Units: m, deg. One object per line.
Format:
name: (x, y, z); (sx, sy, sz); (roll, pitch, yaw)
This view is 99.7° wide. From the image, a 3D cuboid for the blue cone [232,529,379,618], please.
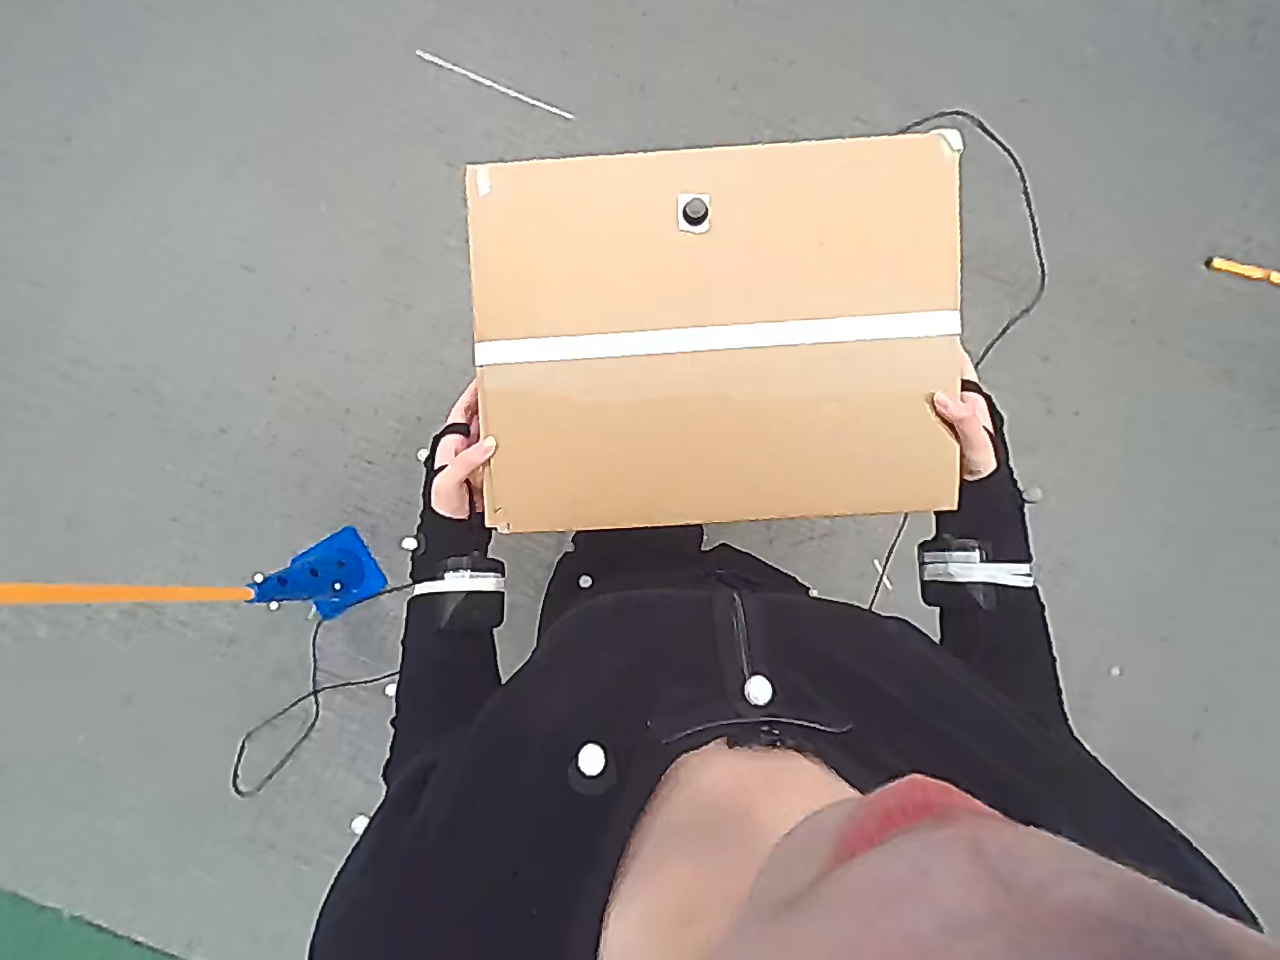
blue cone: (-0.807, 0.246, 1.278); (0.193, 0.380, 0.192); (-34, 88, -2)
